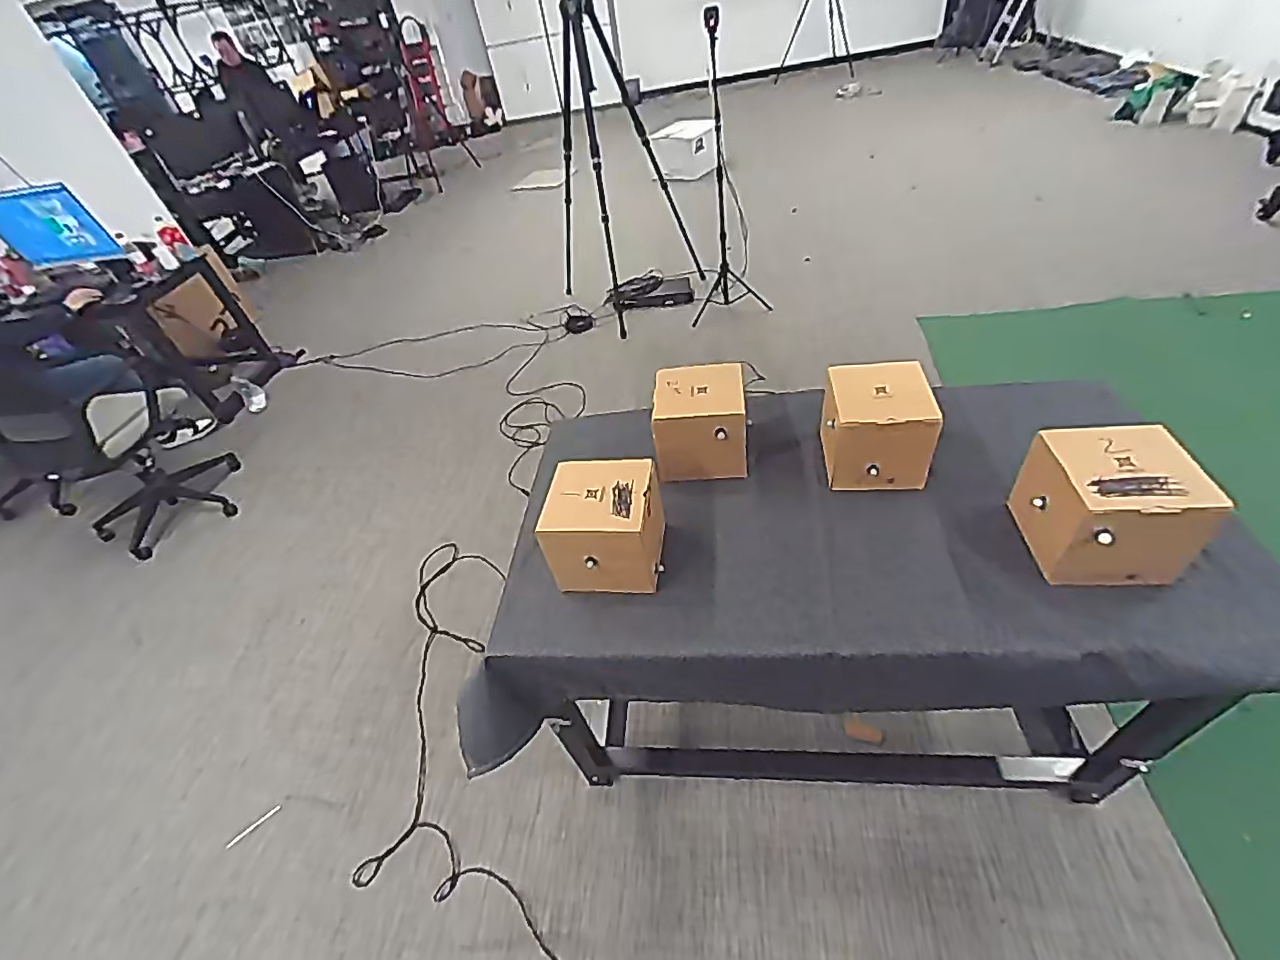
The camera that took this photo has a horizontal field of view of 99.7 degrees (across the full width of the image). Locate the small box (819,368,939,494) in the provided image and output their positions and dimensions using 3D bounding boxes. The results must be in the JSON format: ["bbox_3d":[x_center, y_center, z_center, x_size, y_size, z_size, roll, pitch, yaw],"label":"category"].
[{"bbox_3d":[0.441,-0.092,1.030,0.168,0.176,0.179,-1,45,10],"label":"small box"}]

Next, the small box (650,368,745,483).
[{"bbox_3d":[0.123,-0.108,1.109,0.179,0.176,0.168,-3,45,10],"label":"small box"}]

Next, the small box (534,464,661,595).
[{"bbox_3d":[-0.062,0.088,0.949,0.179,0.176,0.168,-1,44,12],"label":"small box"}]
